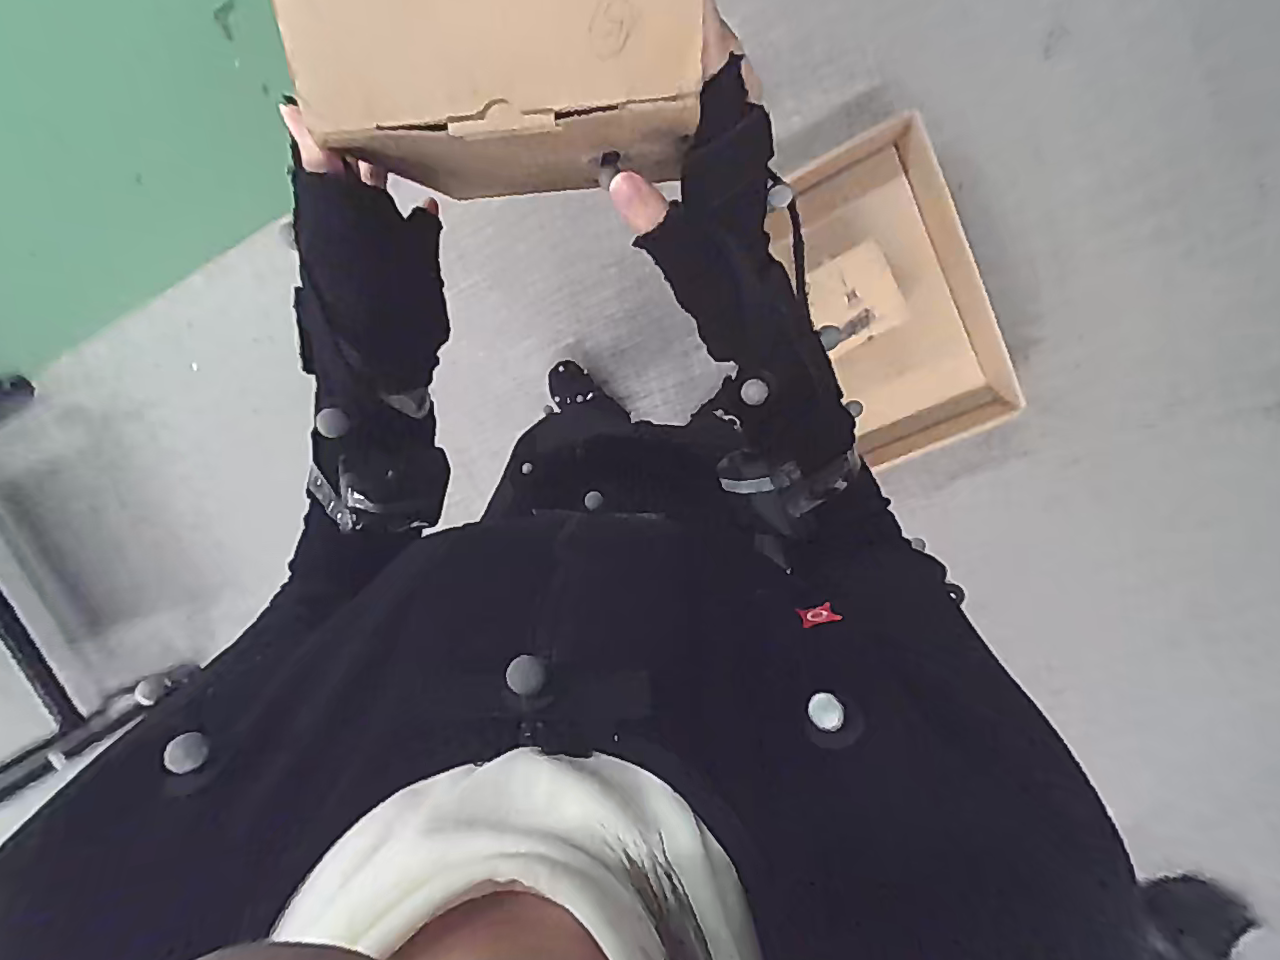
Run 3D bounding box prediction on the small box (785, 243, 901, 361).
[{"bbox_3d":[0.418,-0.367,1.138,0.168,0.176,0.179,-25,97,16],"label":"small box"}]
